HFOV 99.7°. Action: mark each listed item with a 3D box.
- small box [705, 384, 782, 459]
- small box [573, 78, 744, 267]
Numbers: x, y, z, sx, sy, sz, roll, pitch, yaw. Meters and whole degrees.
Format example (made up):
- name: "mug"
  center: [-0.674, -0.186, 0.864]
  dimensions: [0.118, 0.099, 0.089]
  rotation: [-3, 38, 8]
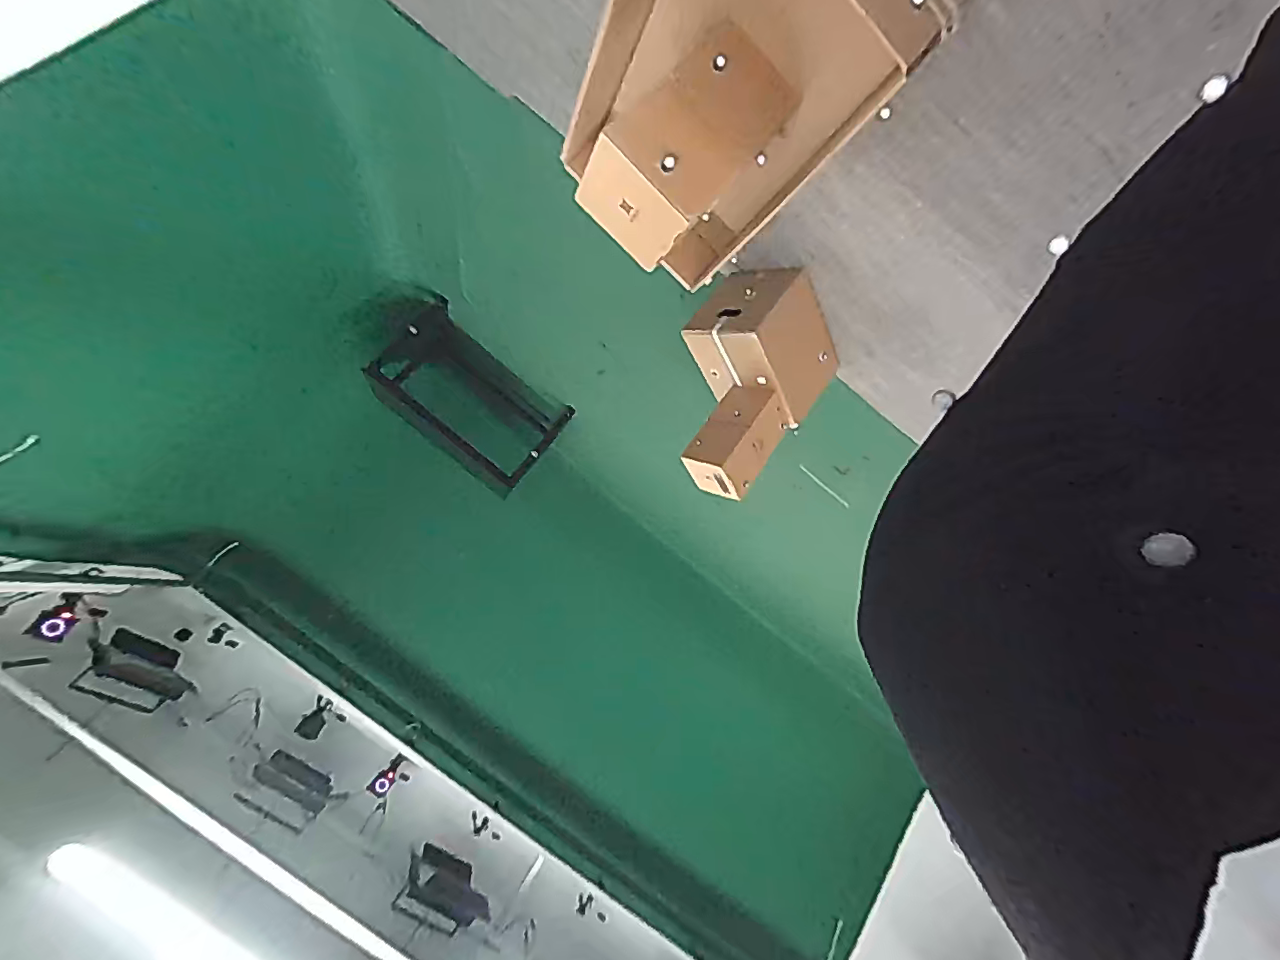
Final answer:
- name: "small box"
  center: [0.351, -0.198, 1.784]
  dimensions: [0.179, 0.176, 0.168]
  rotation: [19, 153, 43]
- name: "small box"
  center: [0.028, -0.488, 0.859]
  dimensions: [0.179, 0.176, 0.168]
  rotation: [41, 162, -13]
